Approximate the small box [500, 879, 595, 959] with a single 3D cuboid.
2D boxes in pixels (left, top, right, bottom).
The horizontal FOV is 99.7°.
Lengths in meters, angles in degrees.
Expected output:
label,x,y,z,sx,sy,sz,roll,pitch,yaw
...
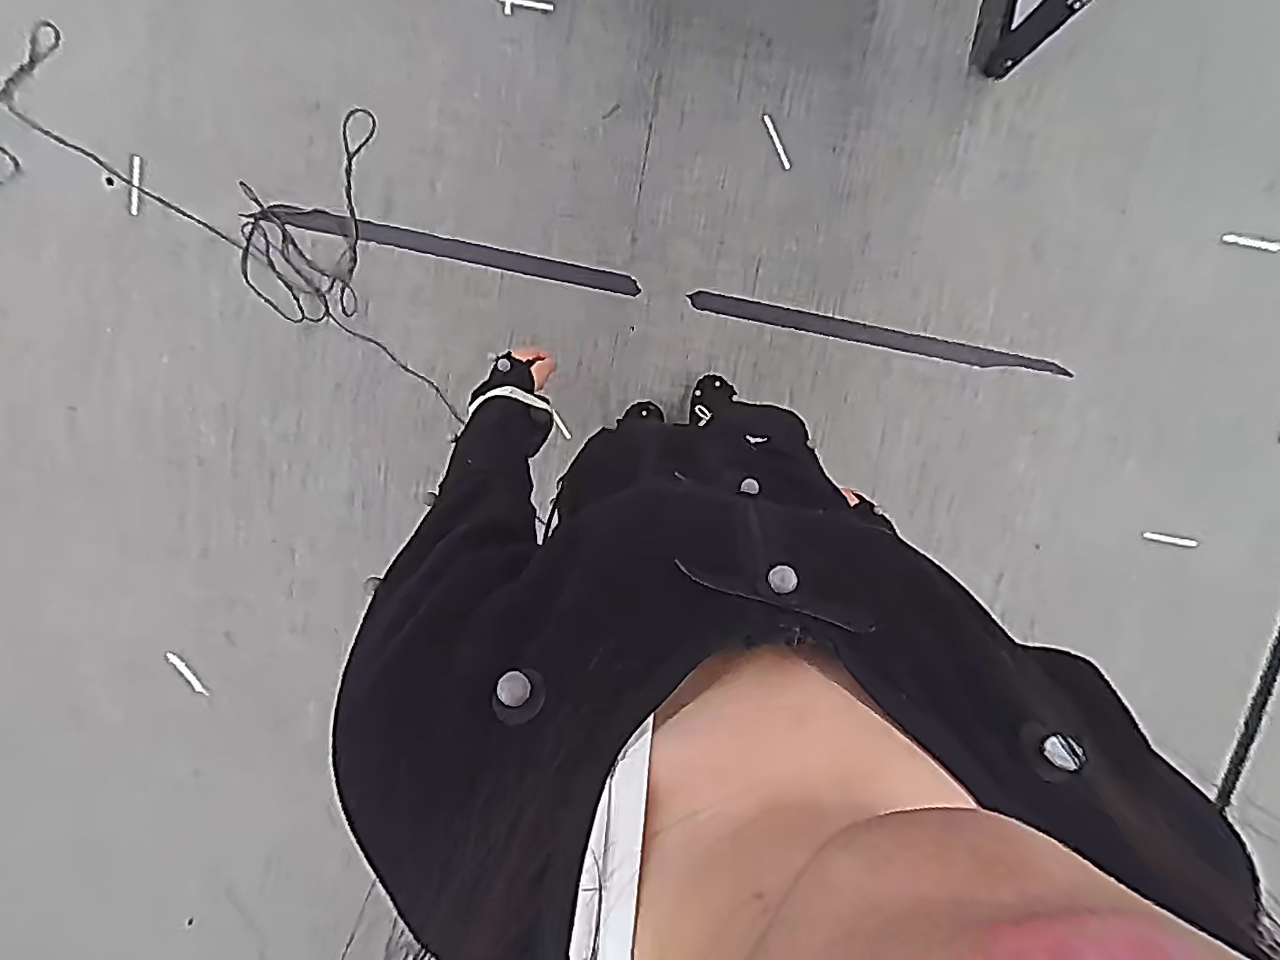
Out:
label,x,y,z,sx,sy,sz,roll,pitch,yaw
small box,-0.188,0.946,1.074,0.168,0.176,0.179,15,97,-3
